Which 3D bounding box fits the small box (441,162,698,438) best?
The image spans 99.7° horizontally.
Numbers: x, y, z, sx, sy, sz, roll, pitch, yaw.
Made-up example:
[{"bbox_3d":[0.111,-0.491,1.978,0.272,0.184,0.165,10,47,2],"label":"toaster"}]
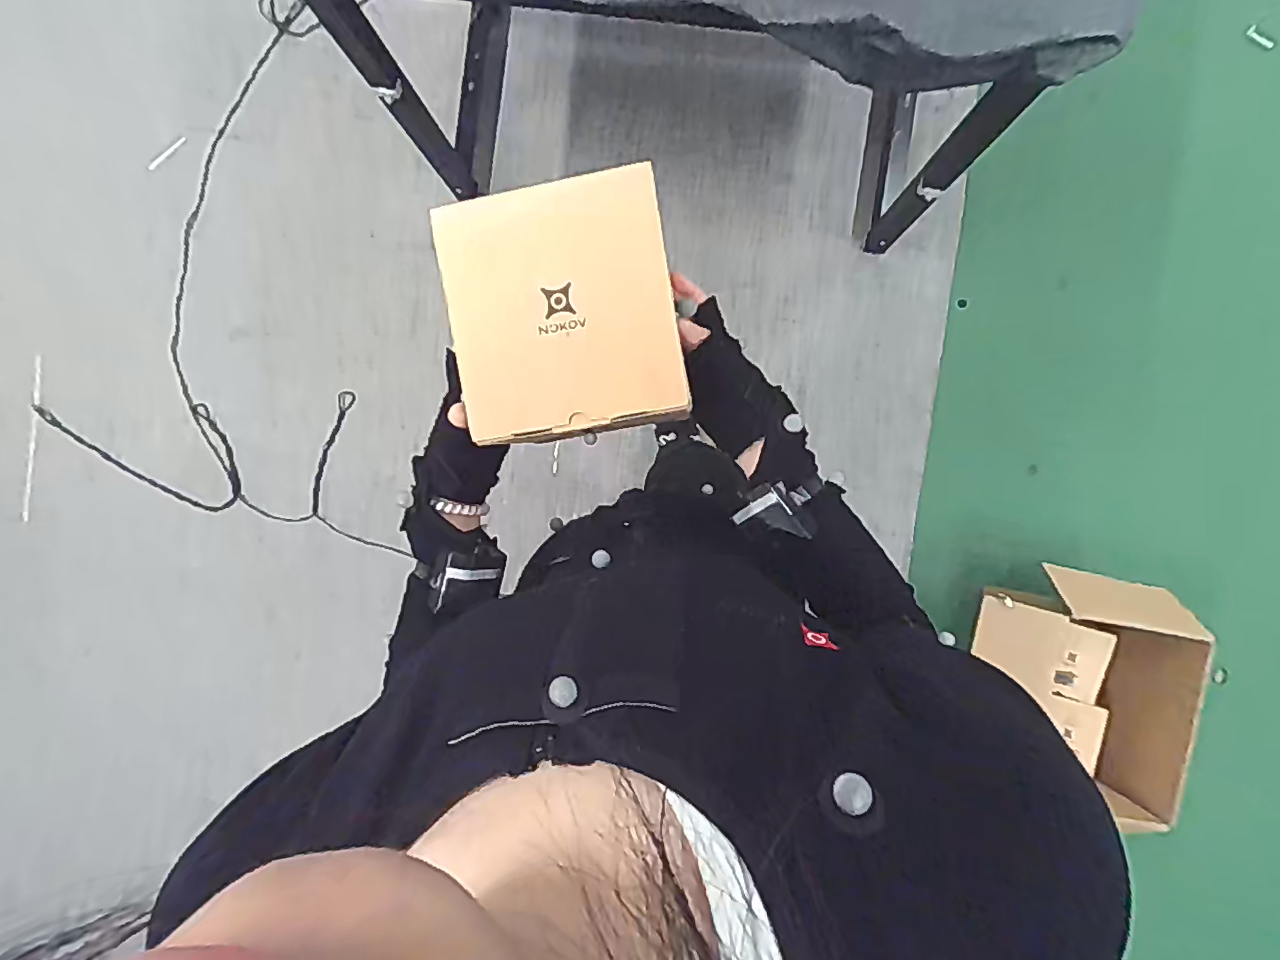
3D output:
[{"bbox_3d":[-0.047,-0.134,0.471,0.168,0.176,0.179,-10,95,4],"label":"small box"}]
